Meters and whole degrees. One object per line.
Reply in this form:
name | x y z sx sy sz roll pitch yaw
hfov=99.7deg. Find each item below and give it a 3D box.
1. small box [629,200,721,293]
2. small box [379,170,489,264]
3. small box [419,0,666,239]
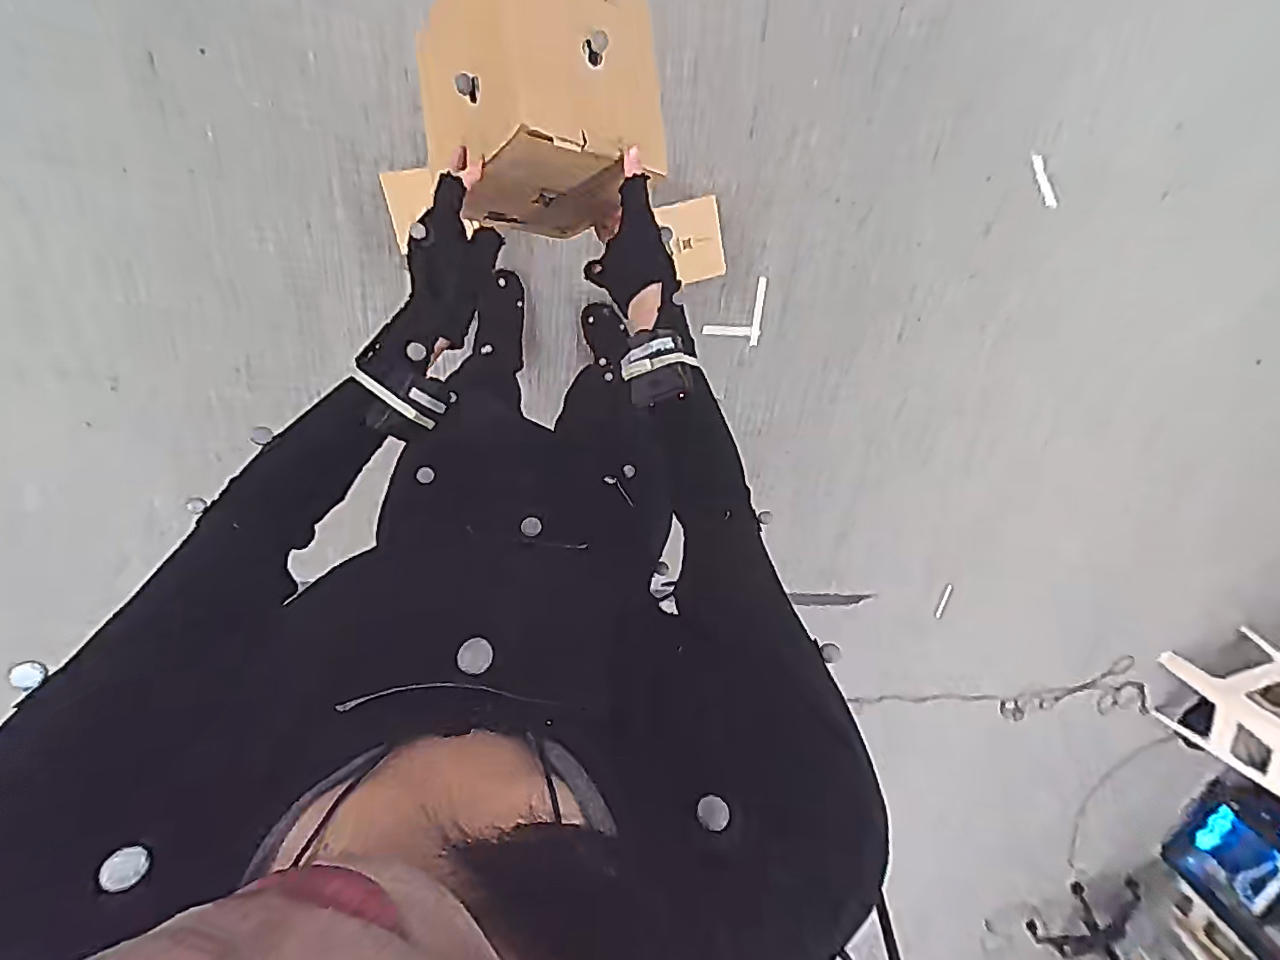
small box | 0.075 -0.544 1.265 0.179 0.176 0.168 -14 116 -2
small box | -0.434 -0.572 1.178 0.179 0.176 0.168 -9 114 -3
small box | -0.100 -0.364 0.528 0.168 0.179 0.176 -9 95 -43
